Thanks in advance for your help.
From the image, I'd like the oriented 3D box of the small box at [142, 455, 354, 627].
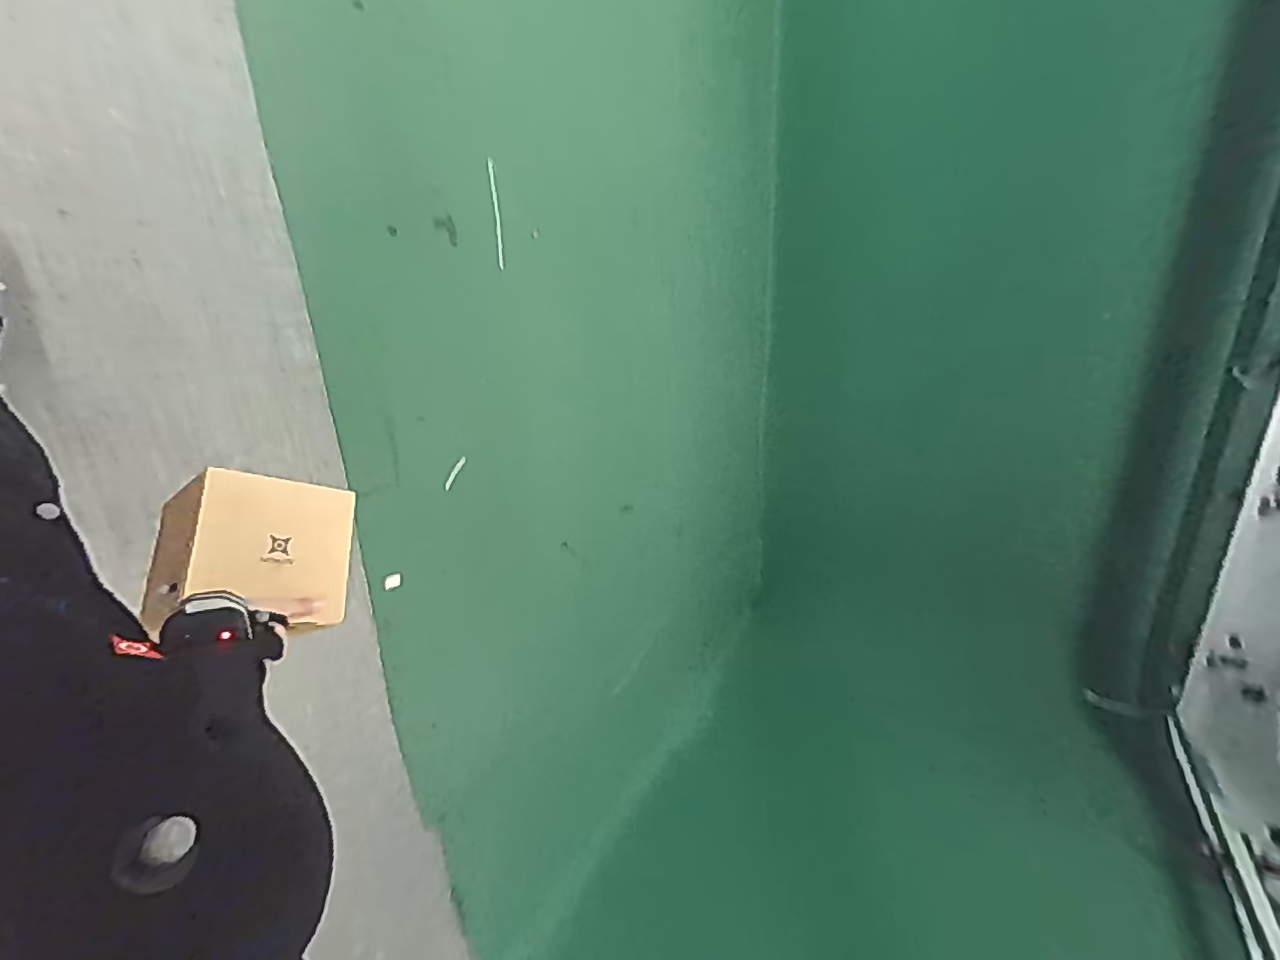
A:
[{"bbox_3d":[-0.491,0.088,0.684,0.168,0.176,0.179,18,63,-50],"label":"small box"}]
